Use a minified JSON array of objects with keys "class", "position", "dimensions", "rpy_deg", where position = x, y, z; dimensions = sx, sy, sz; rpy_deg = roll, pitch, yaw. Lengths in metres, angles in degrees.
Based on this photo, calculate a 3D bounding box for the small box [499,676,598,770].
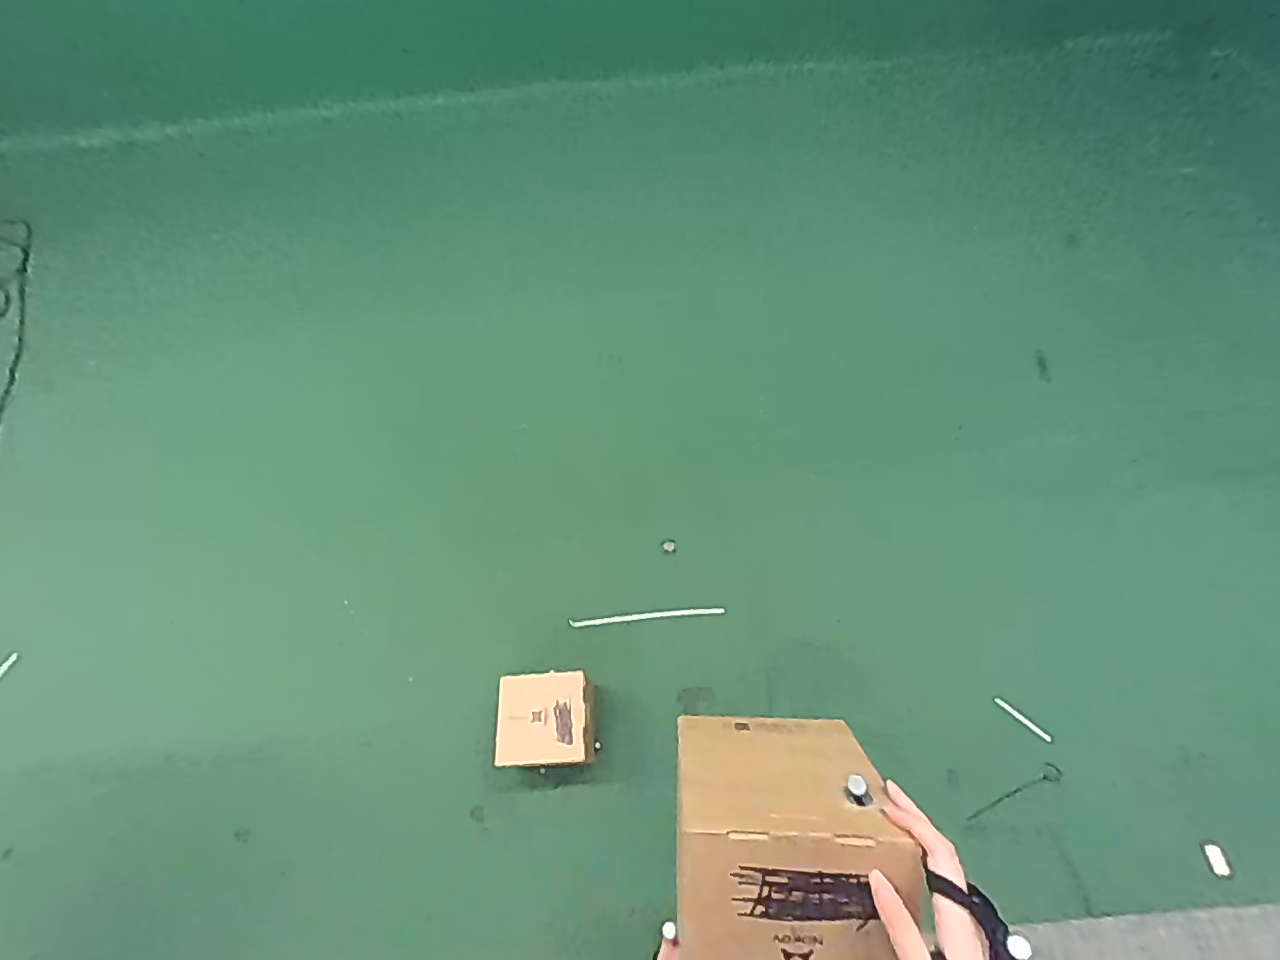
[{"class":"small box","position":[-0.183,0.513,1.138],"dimensions":[0.179,0.176,0.168],"rpy_deg":[-5,61,3]}]
